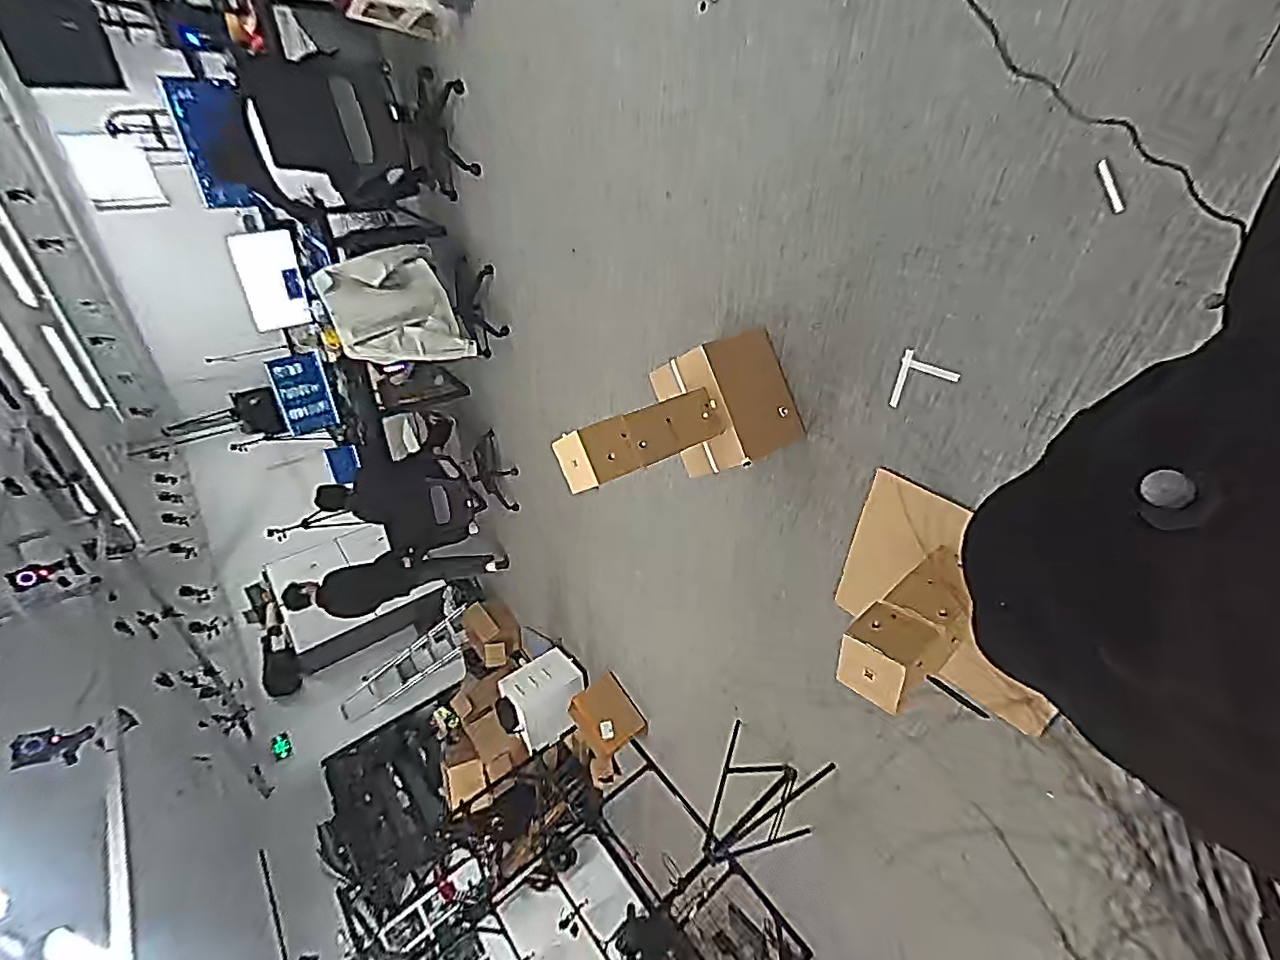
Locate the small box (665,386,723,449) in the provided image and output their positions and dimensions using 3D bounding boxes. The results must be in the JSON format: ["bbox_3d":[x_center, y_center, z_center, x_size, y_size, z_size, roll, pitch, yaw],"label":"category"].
[{"bbox_3d":[0.137,-0.189,1.758,0.179,0.176,0.168,-18,95,57],"label":"small box"}]

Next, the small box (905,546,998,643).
[{"bbox_3d":[0.894,0.322,1.550,0.168,0.176,0.179,27,130,42],"label":"small box"}]

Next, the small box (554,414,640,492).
[{"bbox_3d":[-0.118,-0.081,1.583,0.179,0.176,0.168,-19,94,58],"label":"small box"}]

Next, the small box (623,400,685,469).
[{"bbox_3d":[0.008,-0.132,1.673,0.179,0.176,0.168,-18,95,58],"label":"small box"}]

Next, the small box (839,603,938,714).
[{"bbox_3d":[0.638,0.449,1.390,0.168,0.176,0.179,27,132,44],"label":"small box"}]
